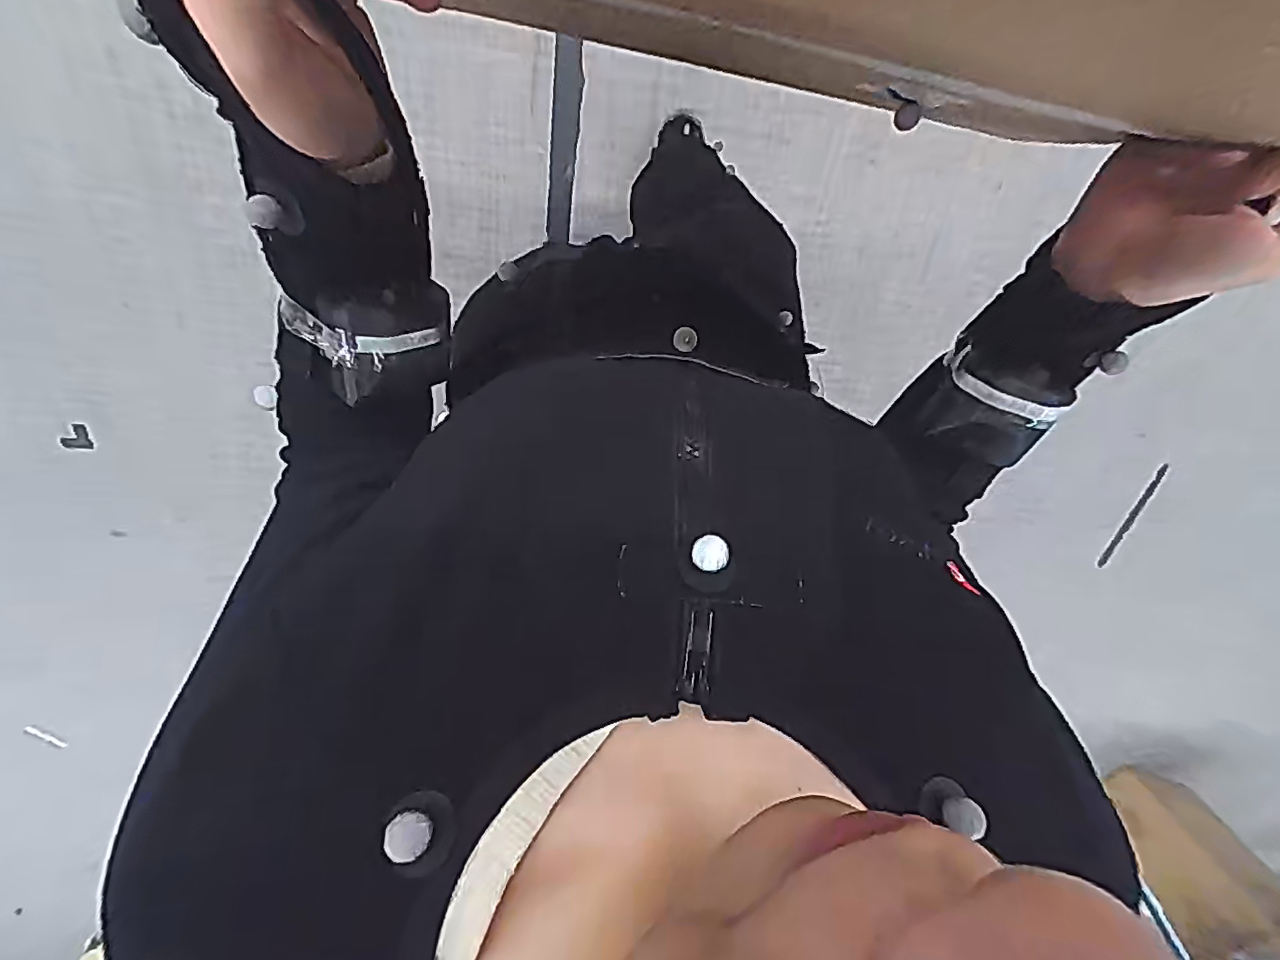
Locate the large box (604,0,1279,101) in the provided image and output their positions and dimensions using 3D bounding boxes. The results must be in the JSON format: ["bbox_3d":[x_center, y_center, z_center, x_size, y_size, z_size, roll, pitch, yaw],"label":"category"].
[{"bbox_3d":[0.102,-0.317,0.124,0.408,0.320,0.320,4,124,-10],"label":"large box"}]
